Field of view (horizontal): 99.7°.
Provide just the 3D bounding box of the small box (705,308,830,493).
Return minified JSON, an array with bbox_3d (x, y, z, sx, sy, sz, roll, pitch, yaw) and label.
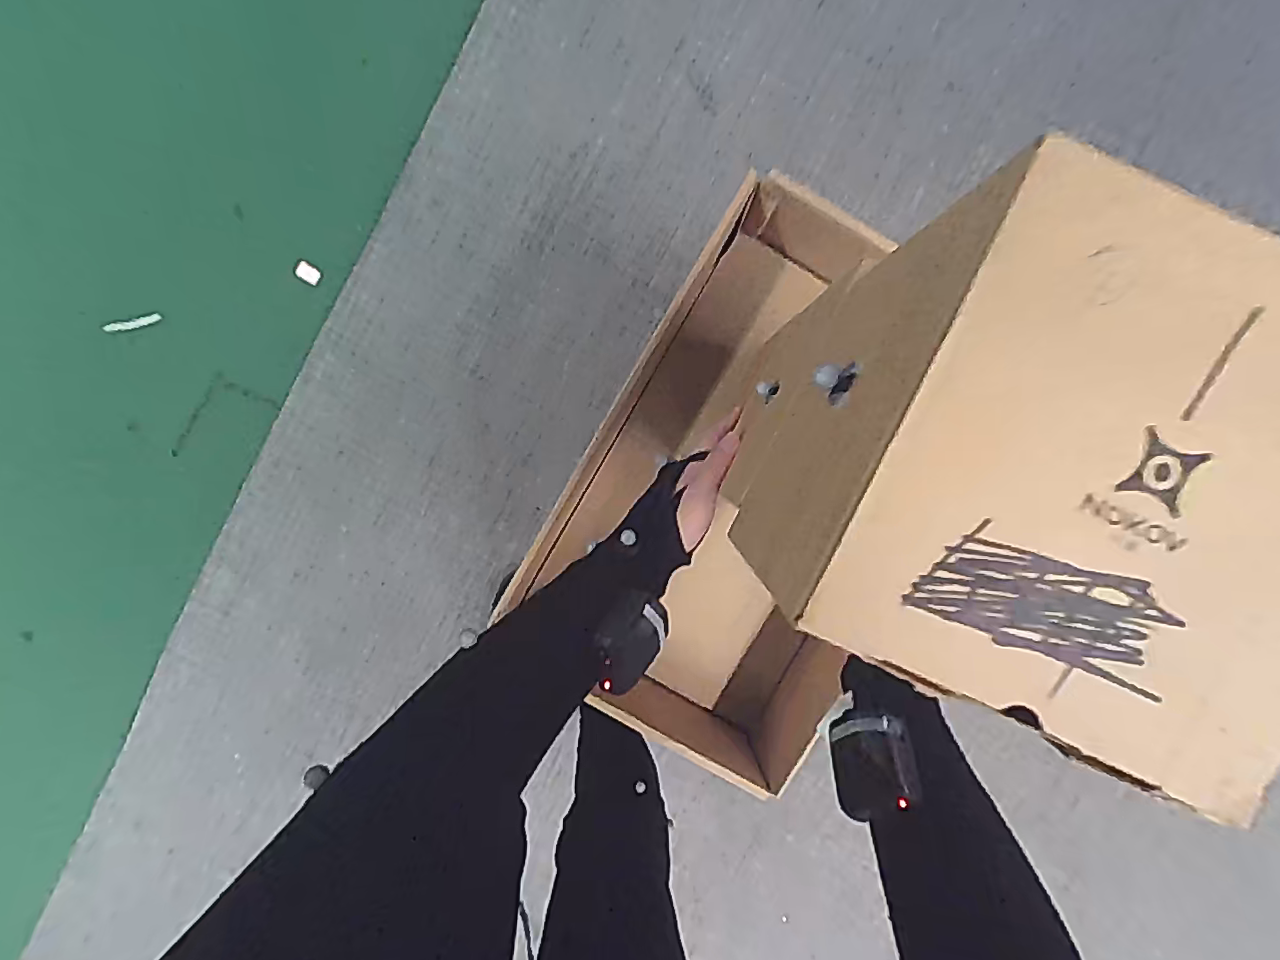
[{"bbox_3d":[0.180,-0.051,0.574,0.168,0.176,0.179,27,95,-1],"label":"small box"}]
